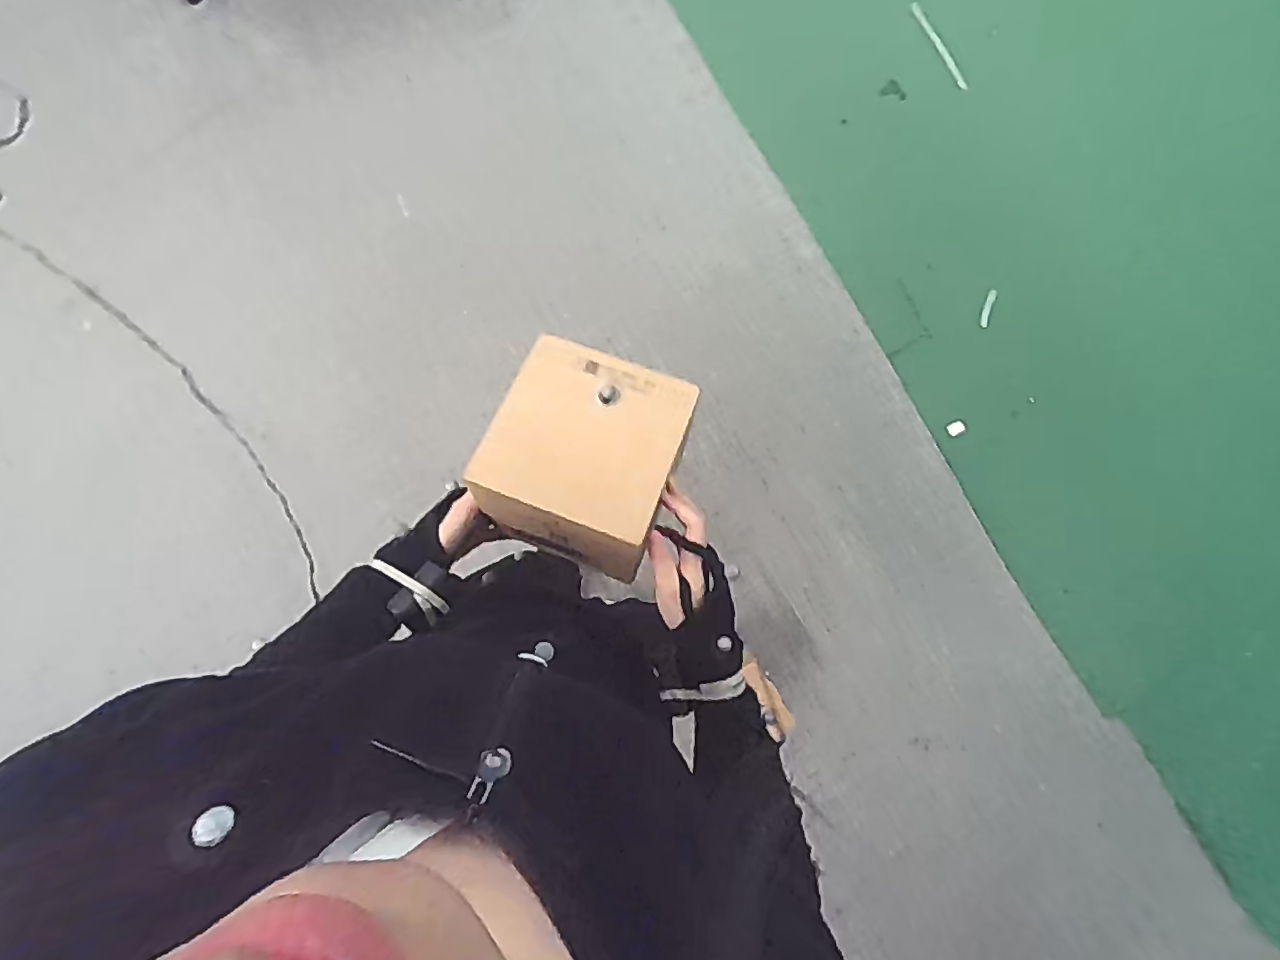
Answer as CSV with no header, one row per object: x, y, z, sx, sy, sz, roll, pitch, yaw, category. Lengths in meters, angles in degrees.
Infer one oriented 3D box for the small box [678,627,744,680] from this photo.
0.213,0.513,1.426,0.179,0.176,0.168,-33,88,-4,small box

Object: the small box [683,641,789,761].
0.212,0.505,1.261,0.179,0.176,0.168,-32,88,-4,small box
